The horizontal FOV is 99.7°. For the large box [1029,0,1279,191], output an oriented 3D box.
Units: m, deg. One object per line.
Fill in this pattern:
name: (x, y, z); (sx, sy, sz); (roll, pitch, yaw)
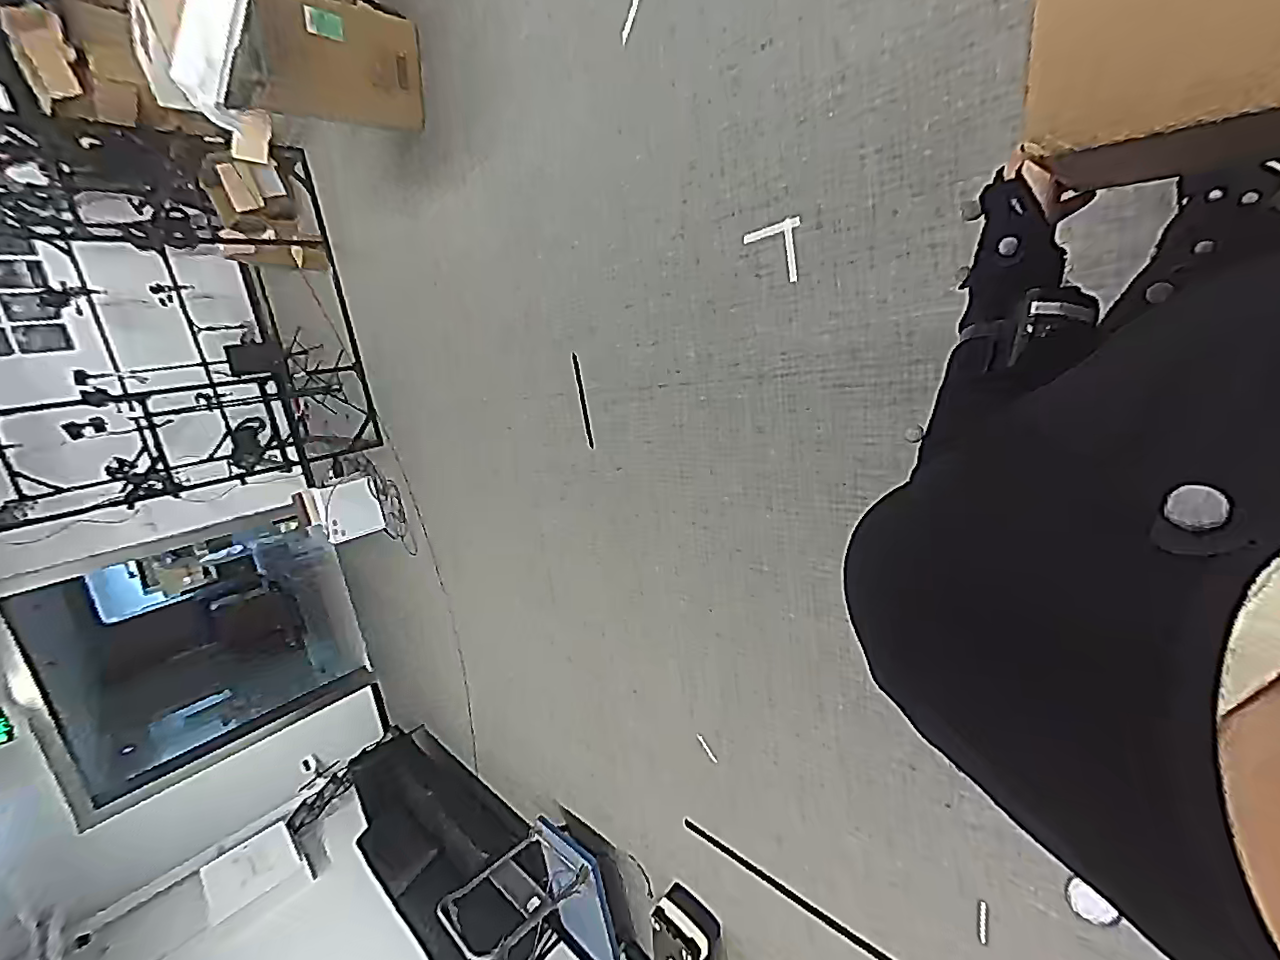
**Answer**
large box: (0.414, -0.333, 0.203); (0.408, 0.320, 0.320); (8, 114, 39)
